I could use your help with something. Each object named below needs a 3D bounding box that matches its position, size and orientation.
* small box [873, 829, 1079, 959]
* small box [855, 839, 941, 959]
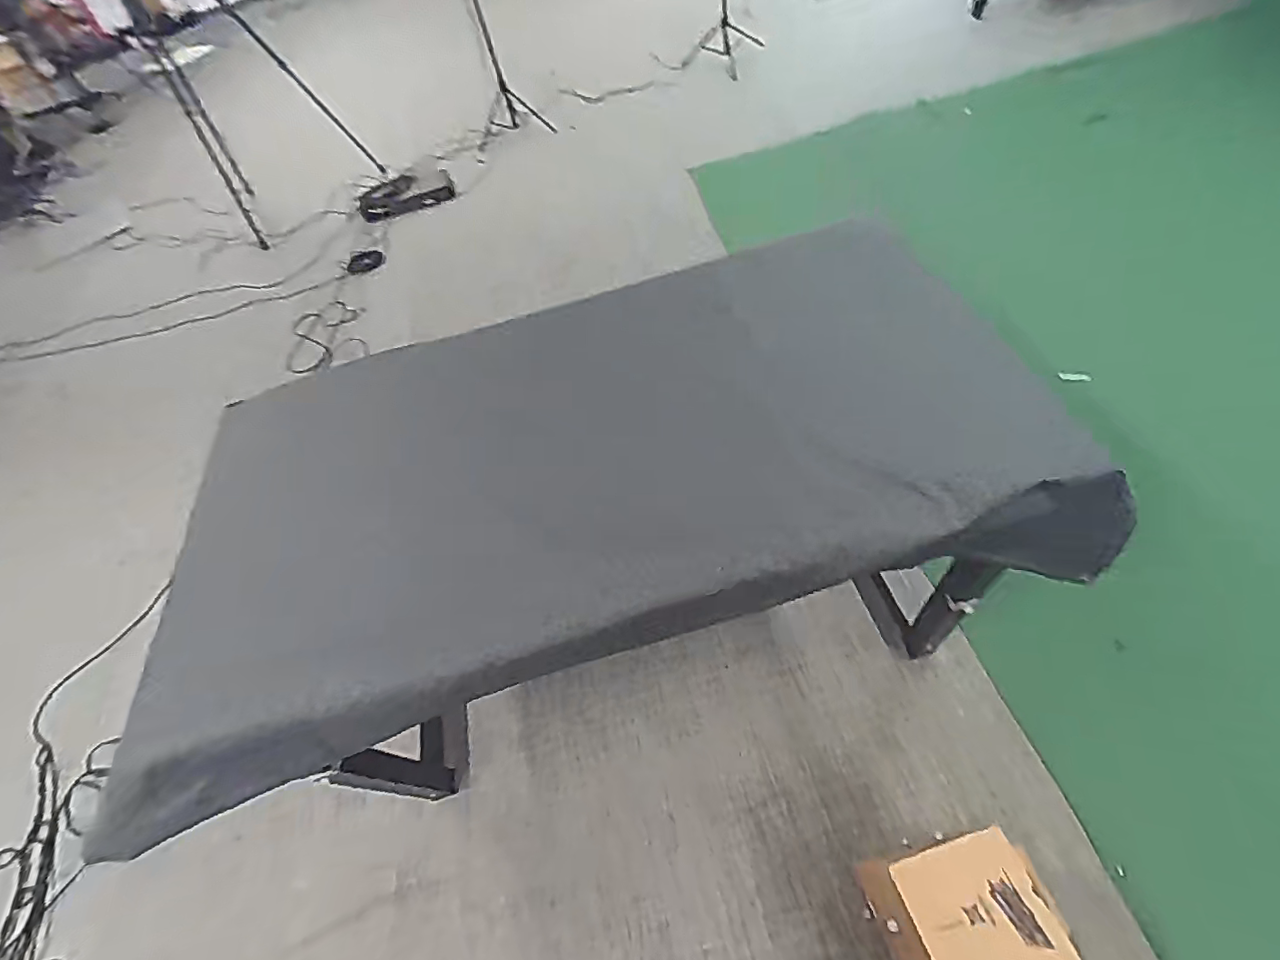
[{"bbox_3d":[0.468,0.629,0.784,0.179,0.176,0.168,-20,53,-2],"label":"small box"},{"bbox_3d":[0.490,0.726,0.915,0.179,0.176,0.168,-20,53,-1],"label":"small box"}]
